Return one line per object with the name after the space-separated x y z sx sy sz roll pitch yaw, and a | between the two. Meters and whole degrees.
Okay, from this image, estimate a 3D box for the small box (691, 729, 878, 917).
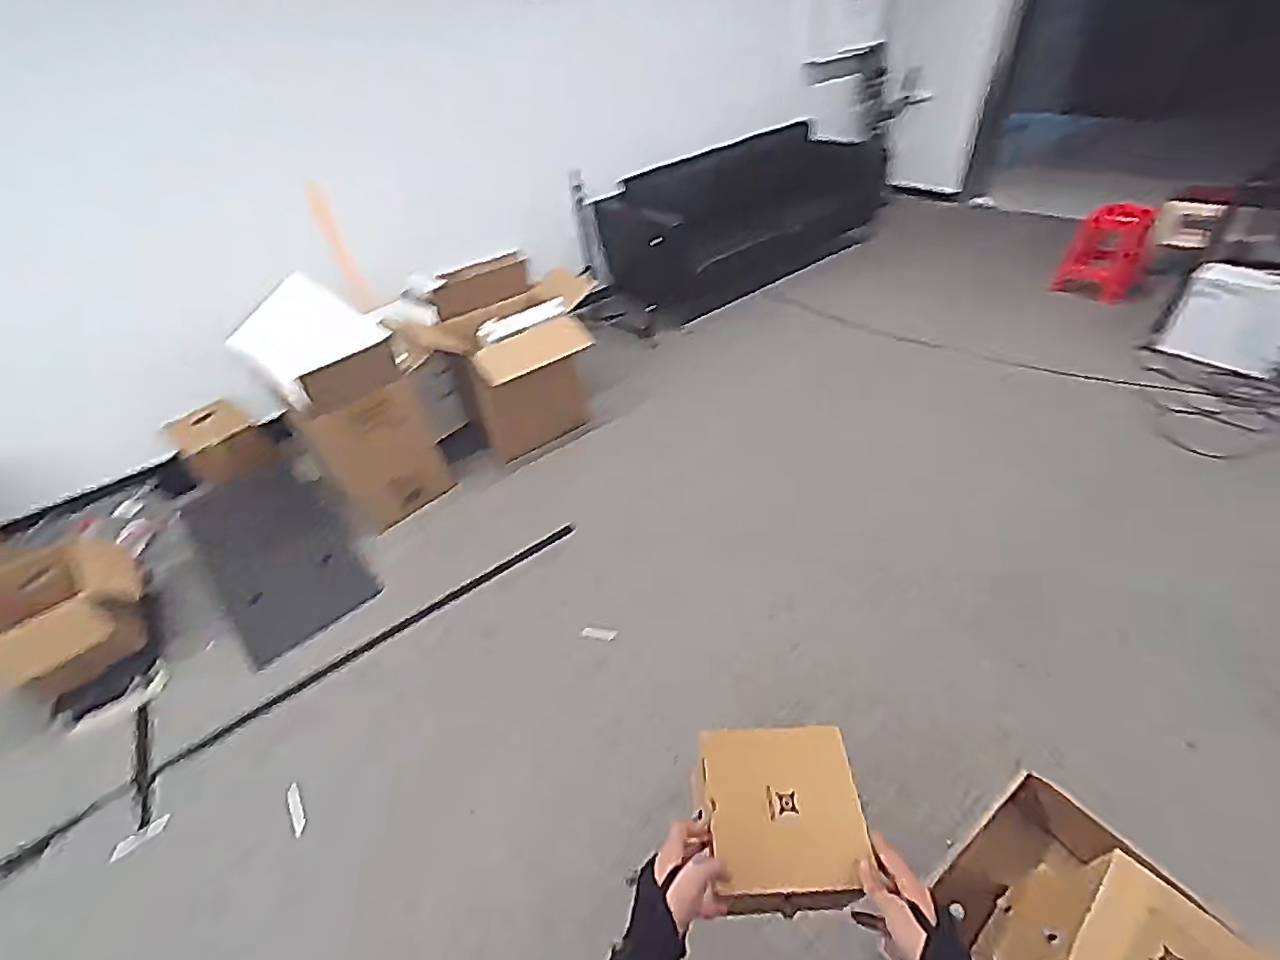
0.161 0.426 0.670 0.179 0.176 0.168 -3 46 0 | small box

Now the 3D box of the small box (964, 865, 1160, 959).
0.629 0.745 0.822 0.179 0.176 0.168 -32 47 -26 | small box
